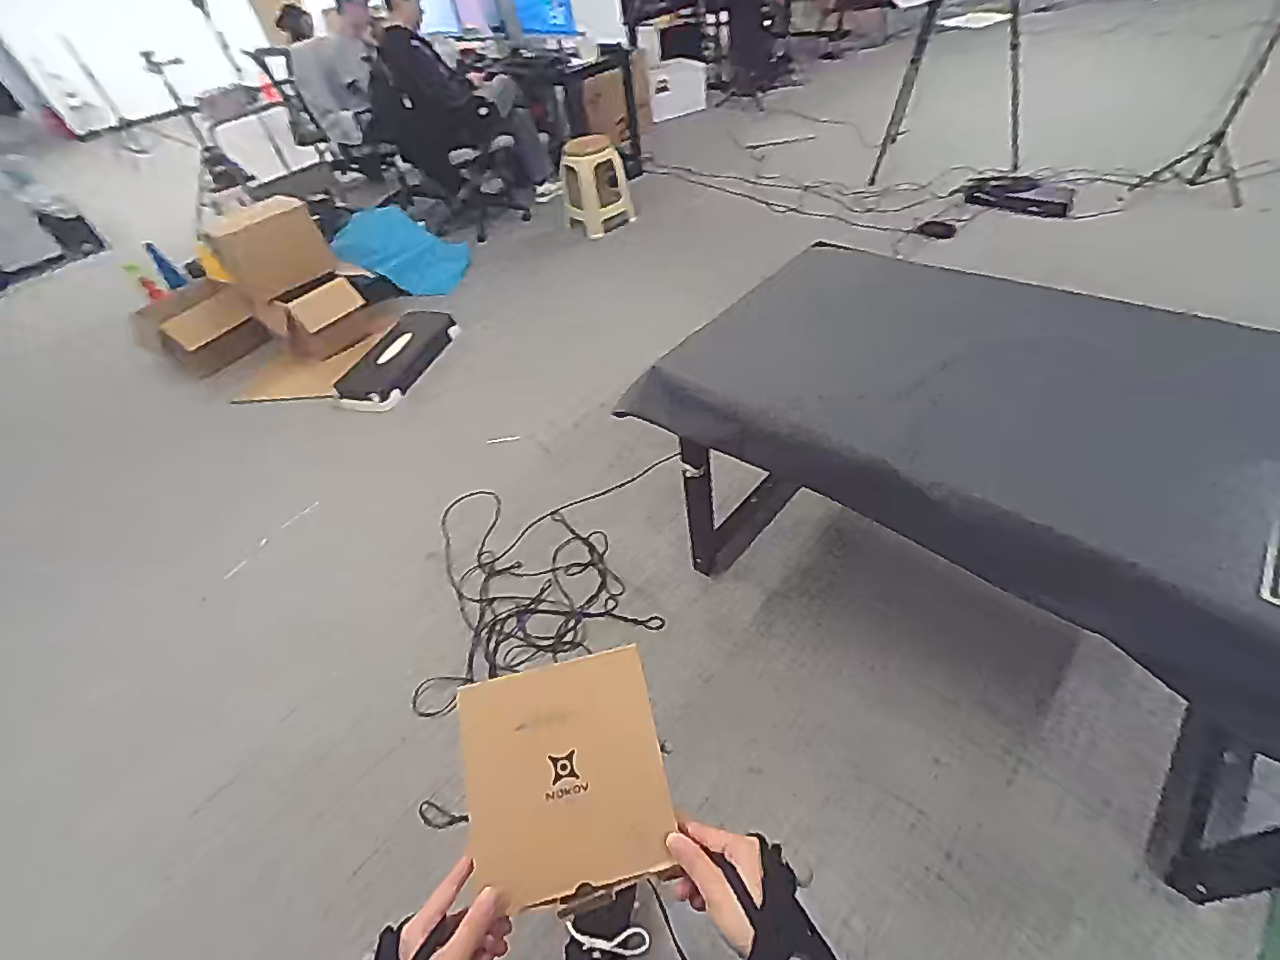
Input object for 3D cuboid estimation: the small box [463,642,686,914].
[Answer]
[{"bbox_3d":[-0.058,0.268,0.523,0.168,0.176,0.179,-12,67,-5],"label":"small box"}]
